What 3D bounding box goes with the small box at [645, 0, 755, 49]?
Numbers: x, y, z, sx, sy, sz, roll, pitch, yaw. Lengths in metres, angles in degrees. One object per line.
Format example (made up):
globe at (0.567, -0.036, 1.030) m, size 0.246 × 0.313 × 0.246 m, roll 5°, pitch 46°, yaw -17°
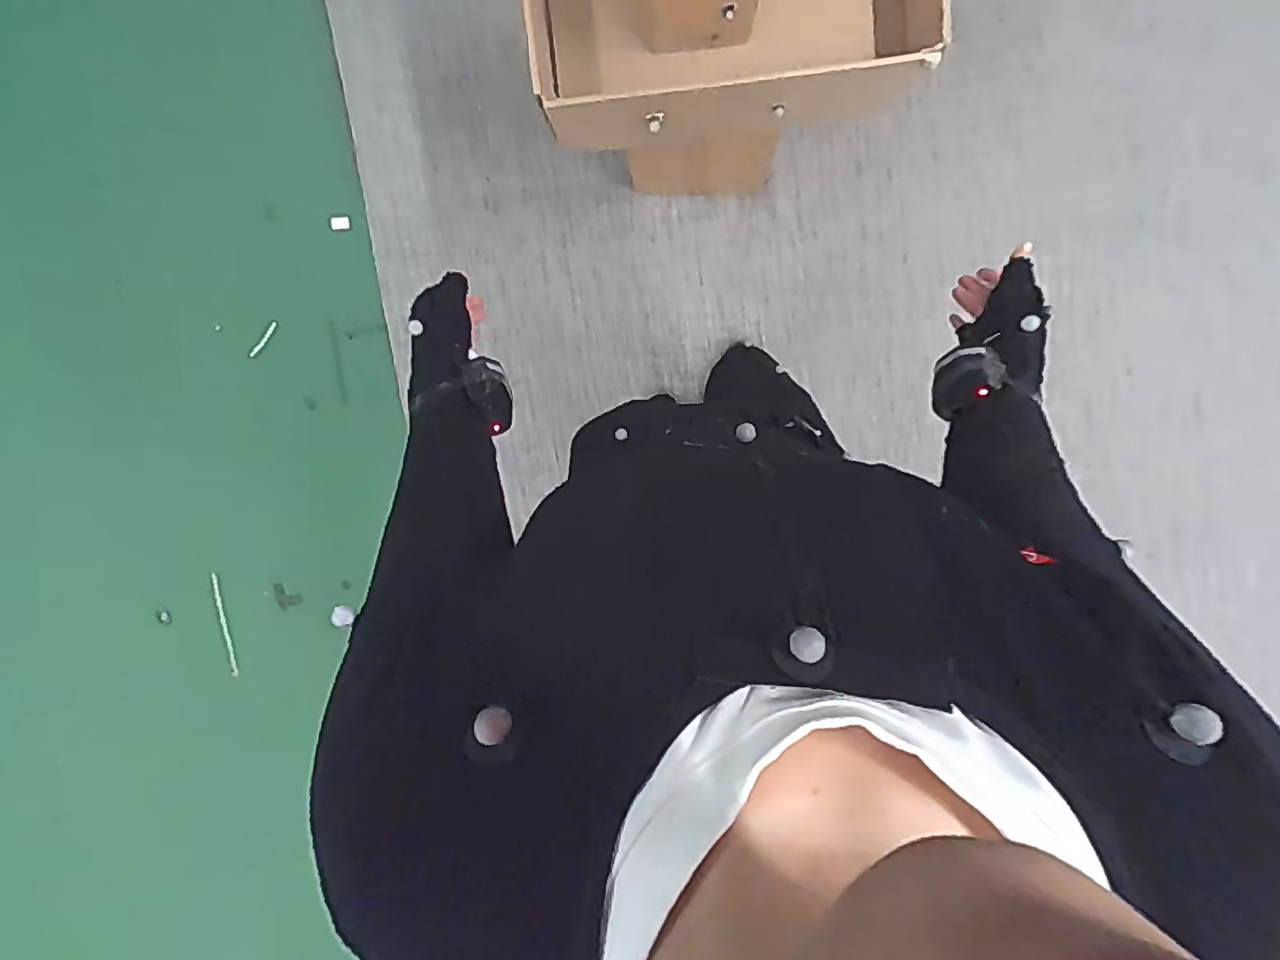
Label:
small box at (0.091, -0.806, 0.833) m, size 0.168 × 0.176 × 0.179 m, roll -6°, pitch 96°, yaw 0°
